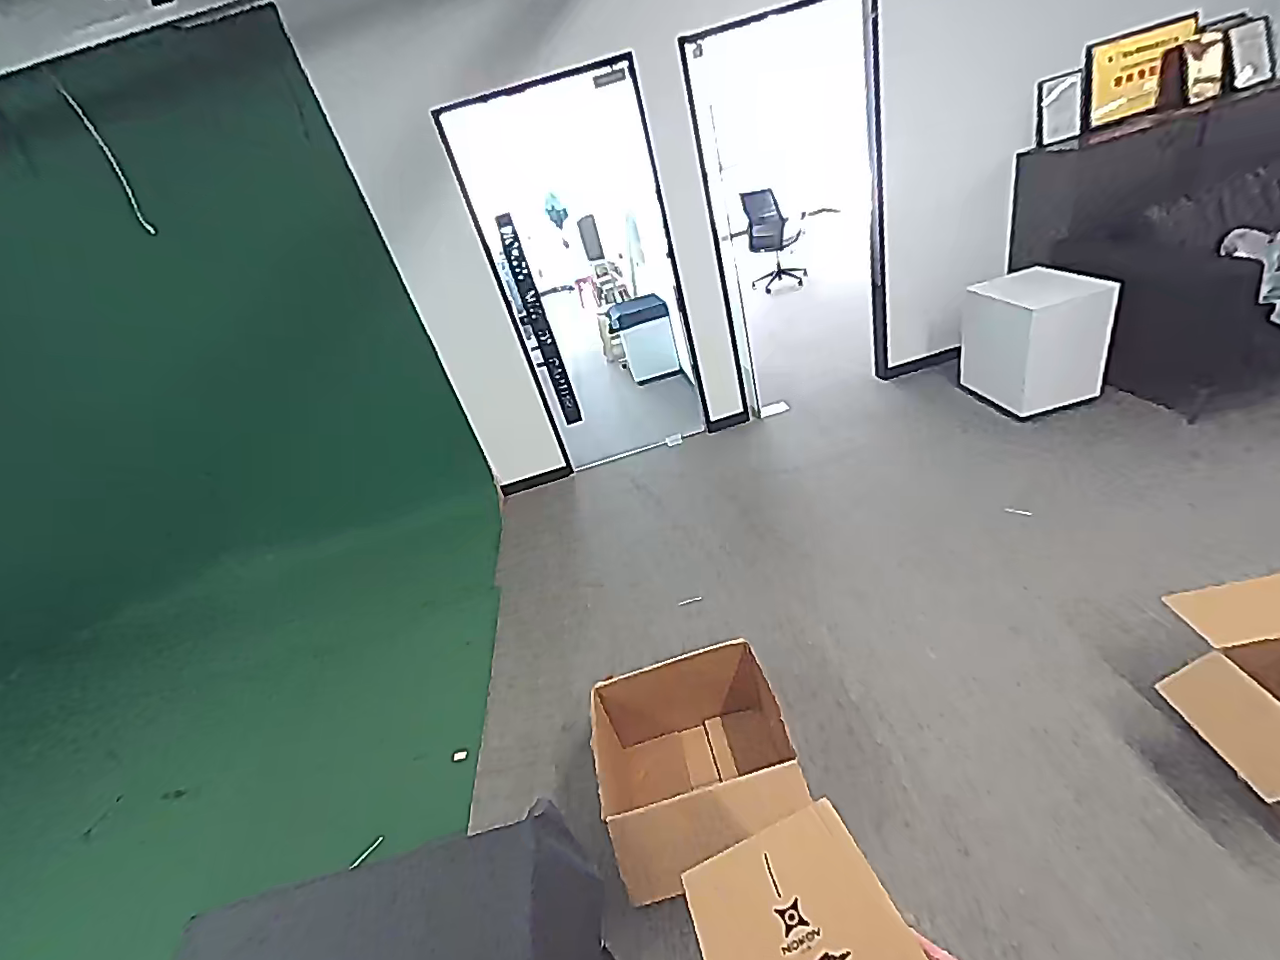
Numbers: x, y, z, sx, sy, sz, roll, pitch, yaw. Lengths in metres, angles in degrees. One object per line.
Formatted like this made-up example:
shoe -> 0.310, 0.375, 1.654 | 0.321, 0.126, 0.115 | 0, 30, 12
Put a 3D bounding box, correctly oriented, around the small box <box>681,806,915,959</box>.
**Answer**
small box -> 0.157, 0.450, 0.482 | 0.168, 0.176, 0.179 | -23, 19, -2
